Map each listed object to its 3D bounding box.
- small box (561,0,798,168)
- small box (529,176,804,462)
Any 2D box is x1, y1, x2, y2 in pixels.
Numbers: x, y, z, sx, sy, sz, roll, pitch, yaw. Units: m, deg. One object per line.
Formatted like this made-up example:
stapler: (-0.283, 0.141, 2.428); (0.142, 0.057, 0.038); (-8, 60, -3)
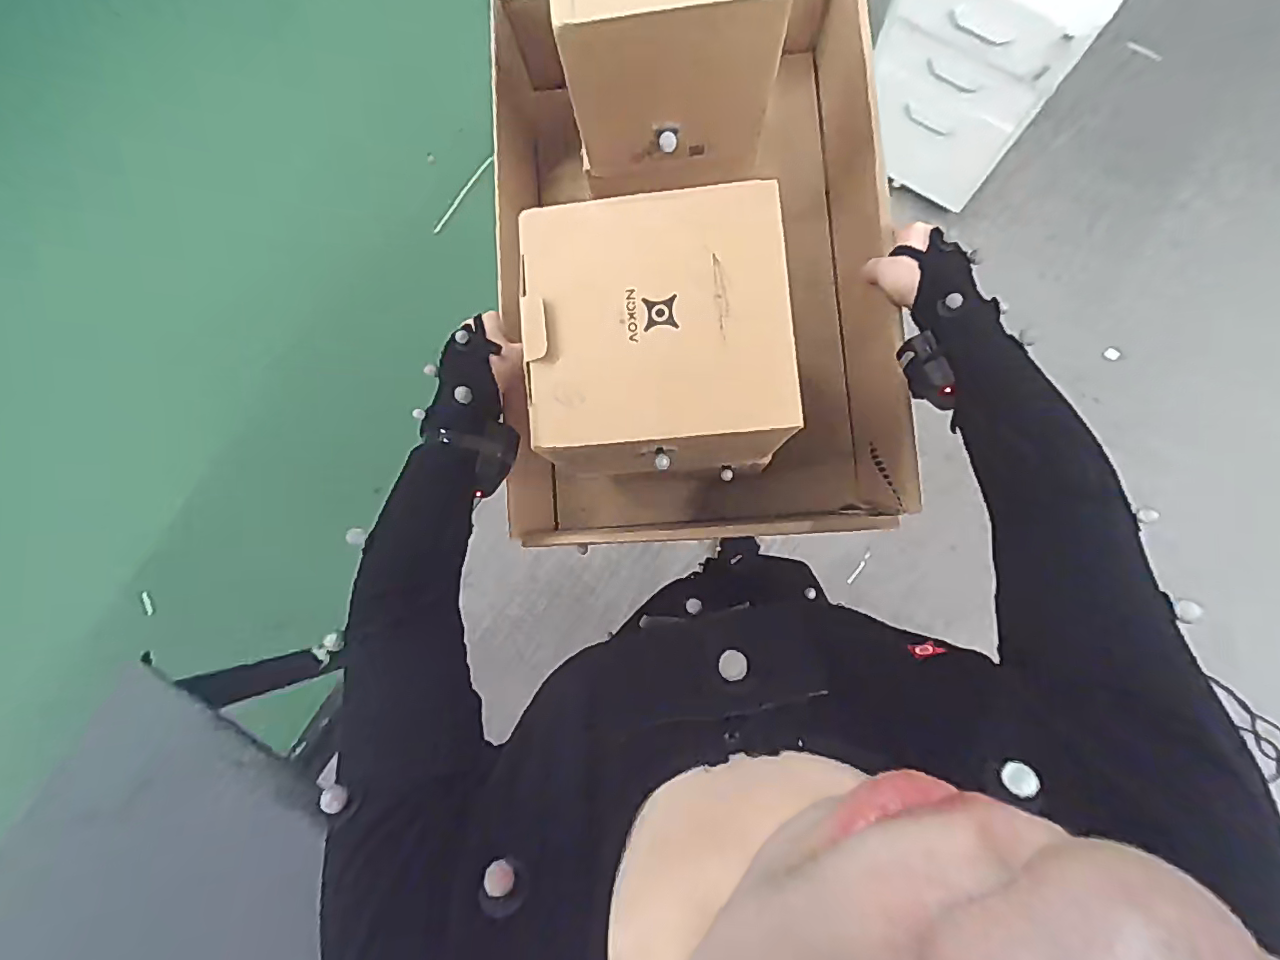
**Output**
small box: (0.028, -0.401, 0.453); (0.168, 0.176, 0.179); (-4, 87, 5)
small box: (0.021, -0.108, 0.436); (0.179, 0.176, 0.168); (-5, 86, 4)
